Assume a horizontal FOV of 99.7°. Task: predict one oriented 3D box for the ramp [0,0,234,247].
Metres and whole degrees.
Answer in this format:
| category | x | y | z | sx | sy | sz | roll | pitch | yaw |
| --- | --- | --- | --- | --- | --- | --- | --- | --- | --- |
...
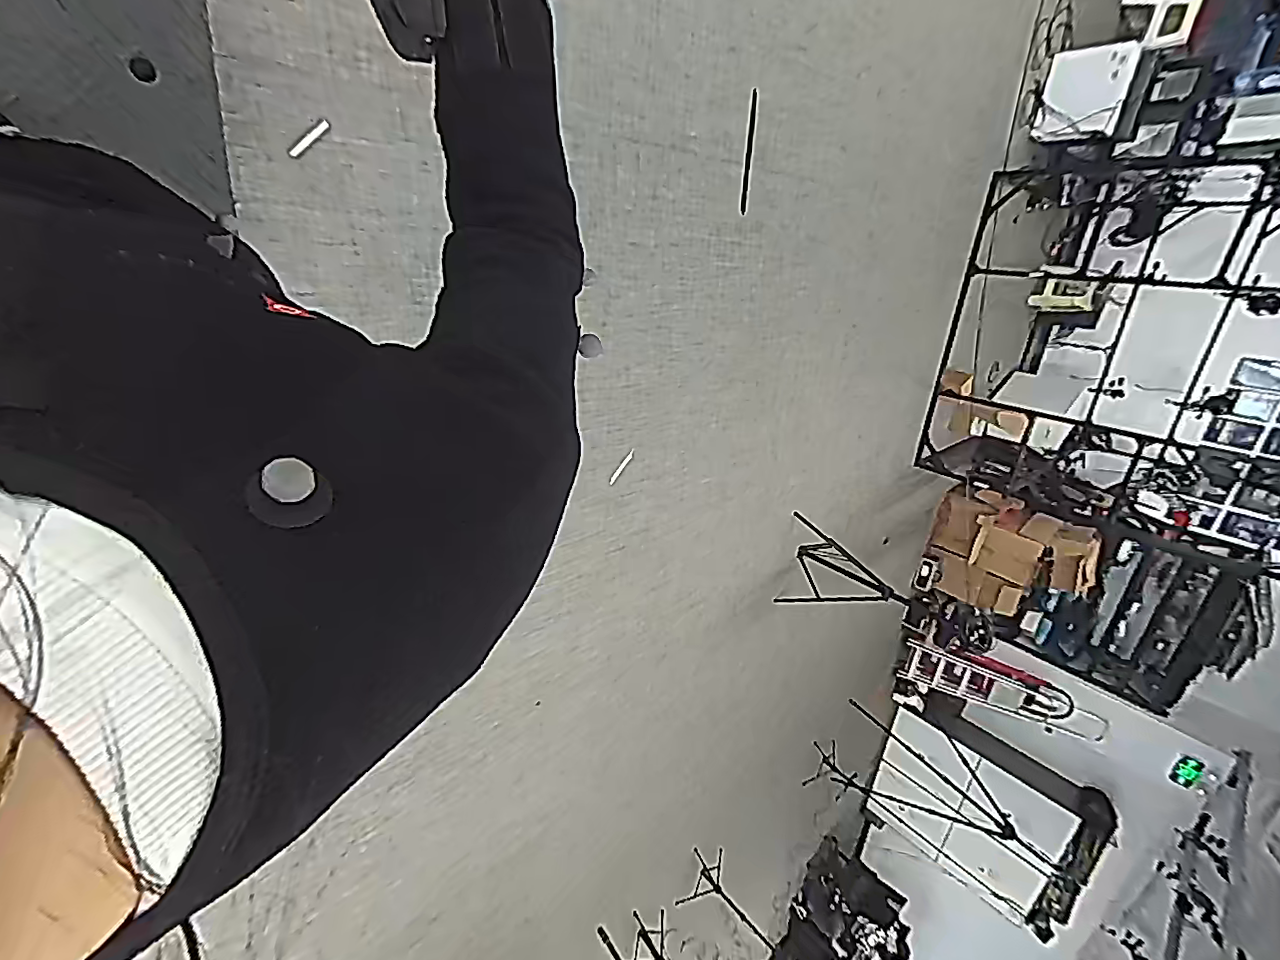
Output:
| category | x | y | z | sx | sy | sz | roll | pitch | yaw |
| --- | --- | --- | --- | --- | --- | --- | --- | --- | --- |
| ramp | -0.913 | -0.860 | 0.725 | 0.509 | 0.206 | 0.991 | -16 | 121 | -40 |
